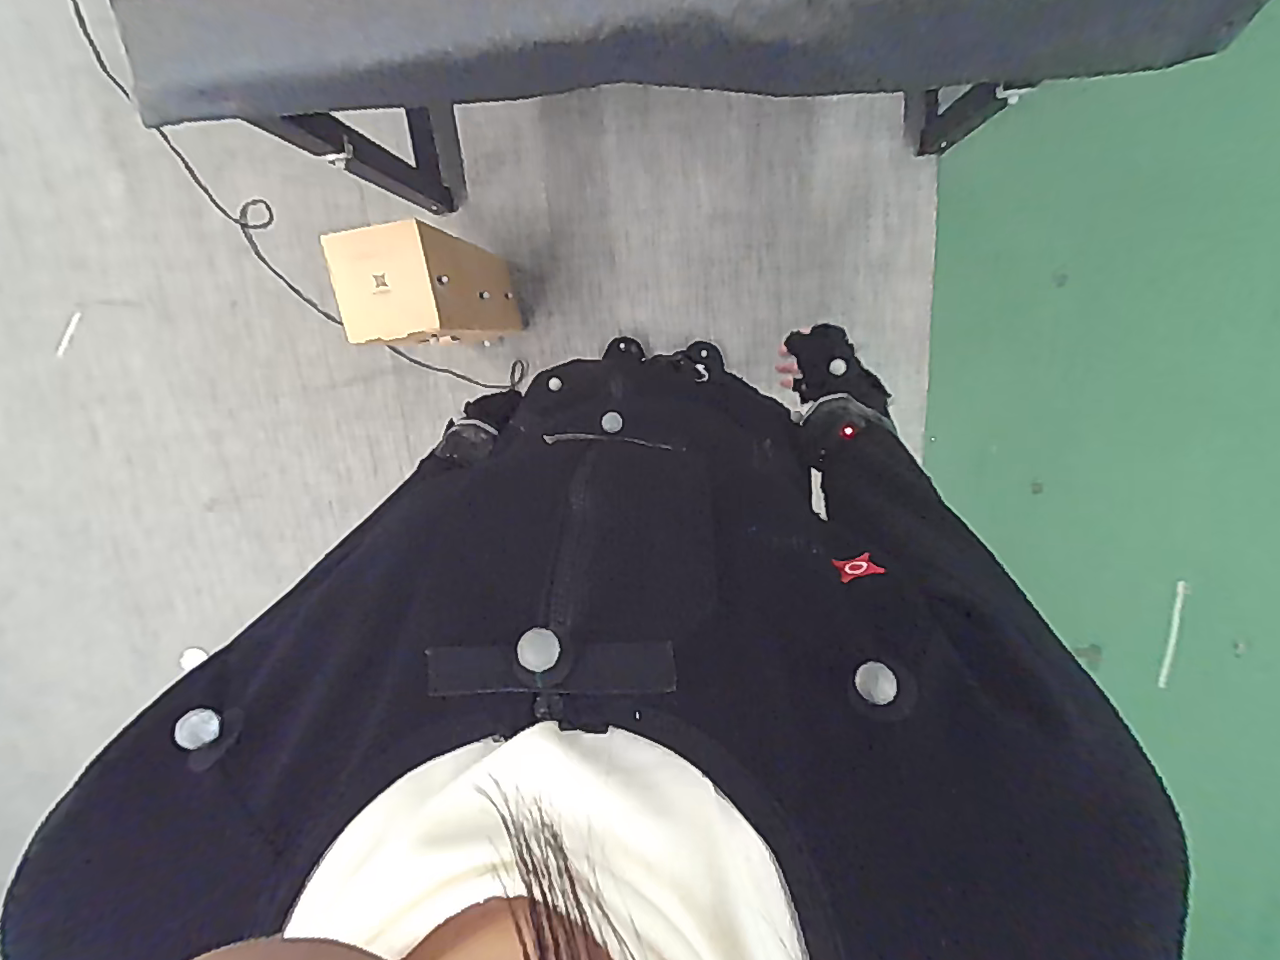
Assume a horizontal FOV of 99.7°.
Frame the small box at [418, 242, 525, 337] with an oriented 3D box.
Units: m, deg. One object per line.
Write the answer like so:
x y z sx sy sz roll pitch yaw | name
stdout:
-0.386 -0.440 1.272 0.168 0.176 0.179 -11 105 7 | small box
